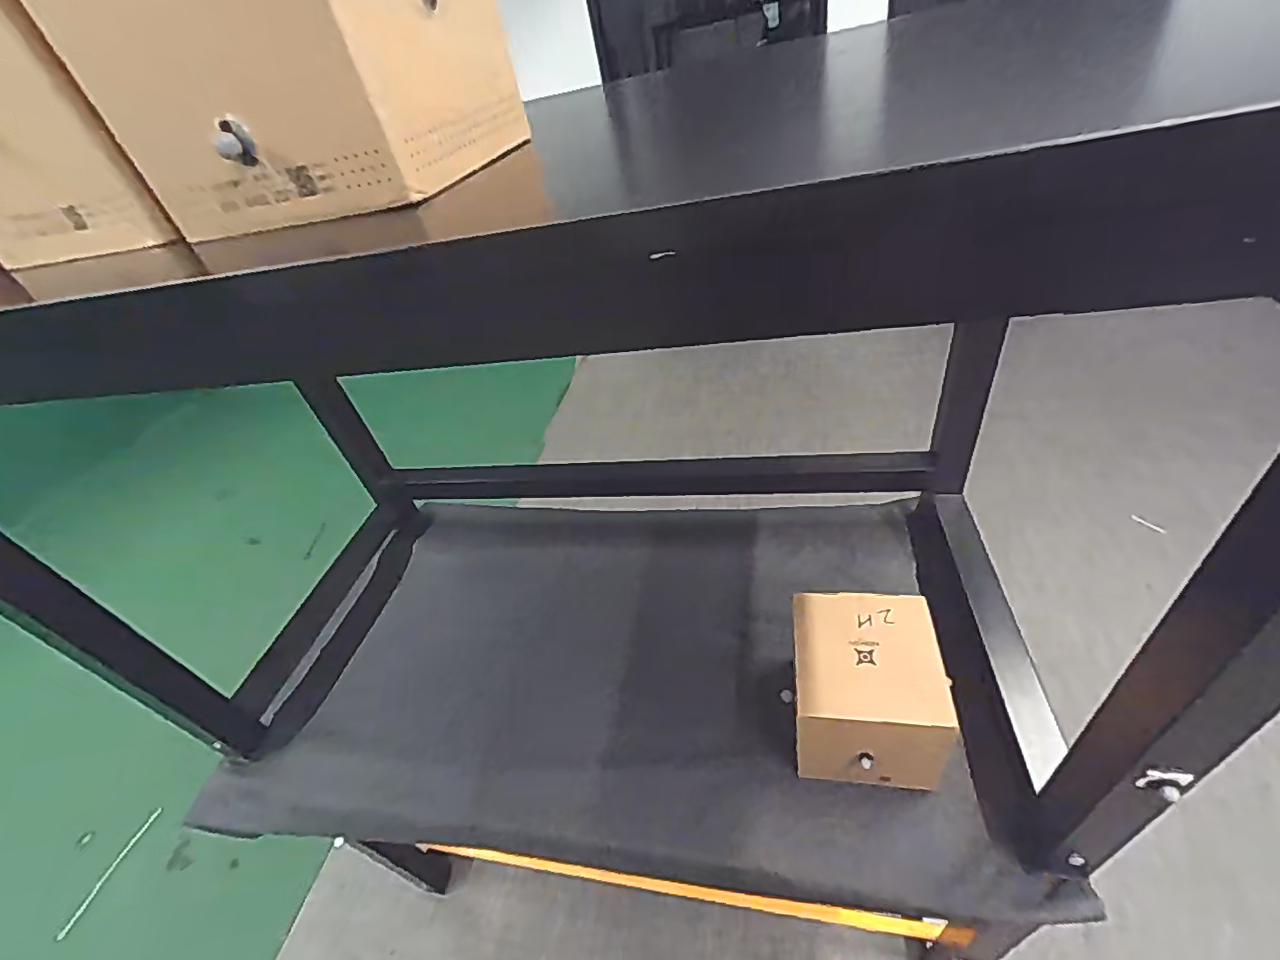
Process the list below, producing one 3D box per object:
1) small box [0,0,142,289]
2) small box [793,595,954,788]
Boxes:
[{"bbox_3d":[-0.564,-0.255,0.431,0.168,0.176,0.179,0,42,16],"label":"small box"},{"bbox_3d":[0.288,0.272,0.703,0.168,0.176,0.179,-1,40,15],"label":"small box"}]
